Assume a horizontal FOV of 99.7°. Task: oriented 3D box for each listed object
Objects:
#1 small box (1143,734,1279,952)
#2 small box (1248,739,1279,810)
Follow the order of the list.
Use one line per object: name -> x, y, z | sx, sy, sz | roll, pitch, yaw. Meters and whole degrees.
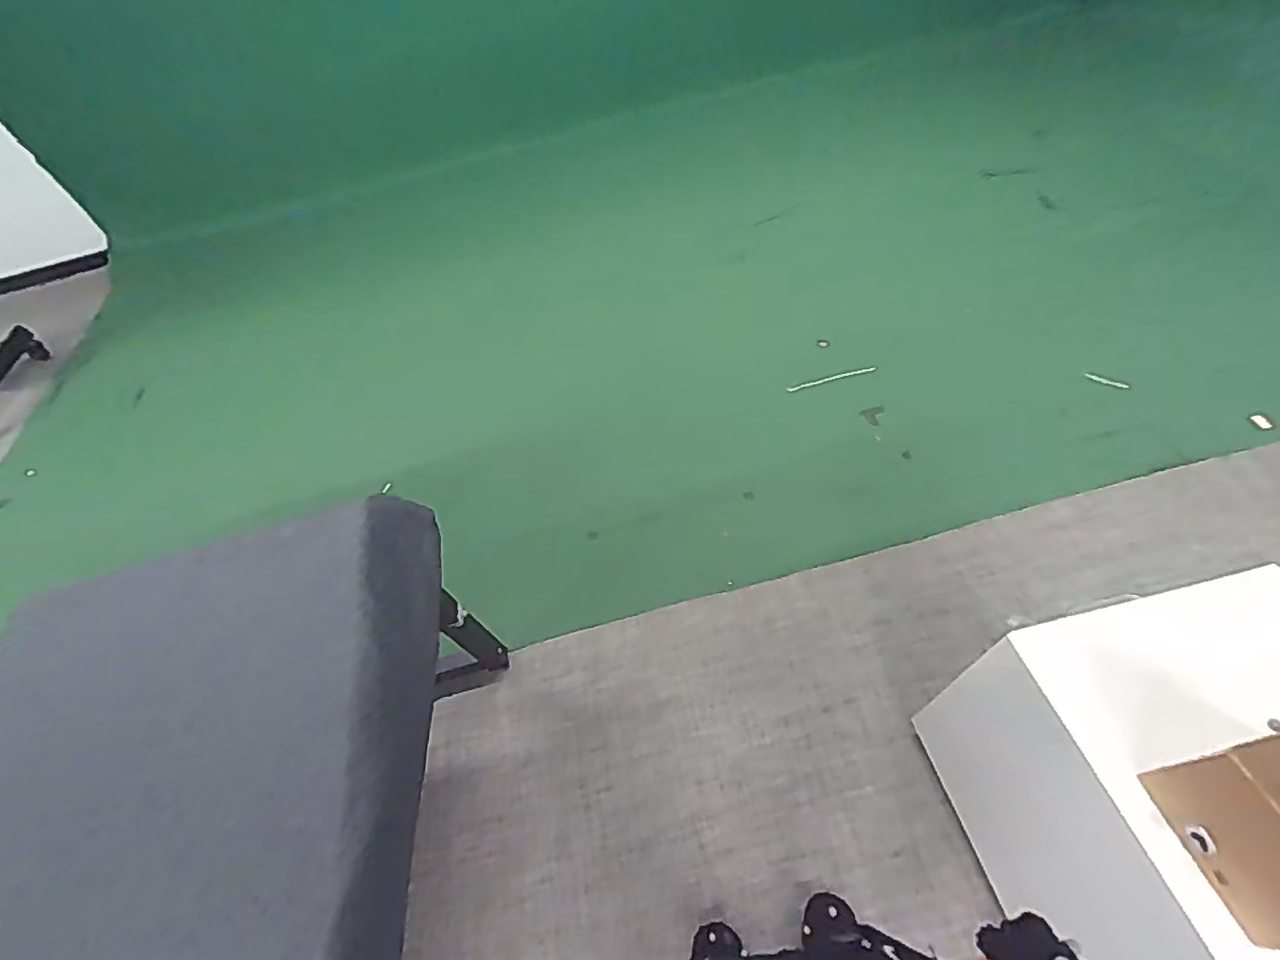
small box -> 0.679, 0.349, 0.537 | 0.179, 0.176, 0.168 | -17, 52, 0
small box -> 0.656, 0.252, 0.406 | 0.179, 0.176, 0.168 | -17, 53, -3
